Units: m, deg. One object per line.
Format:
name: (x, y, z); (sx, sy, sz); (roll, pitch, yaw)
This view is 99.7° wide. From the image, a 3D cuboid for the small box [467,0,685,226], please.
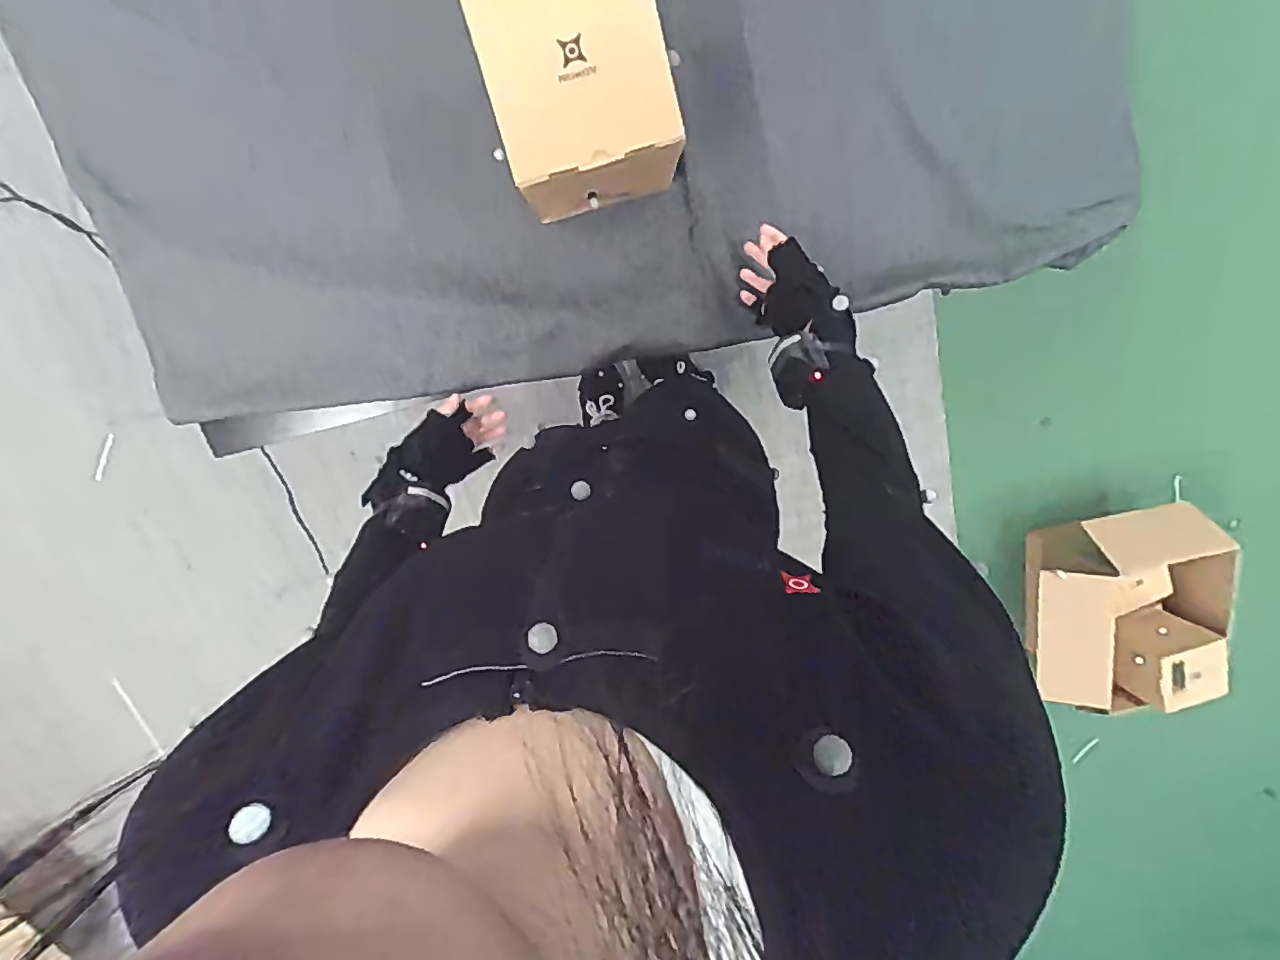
small box: (-0.061, -0.395, 0.575); (0.168, 0.176, 0.179); (-16, 106, 1)
